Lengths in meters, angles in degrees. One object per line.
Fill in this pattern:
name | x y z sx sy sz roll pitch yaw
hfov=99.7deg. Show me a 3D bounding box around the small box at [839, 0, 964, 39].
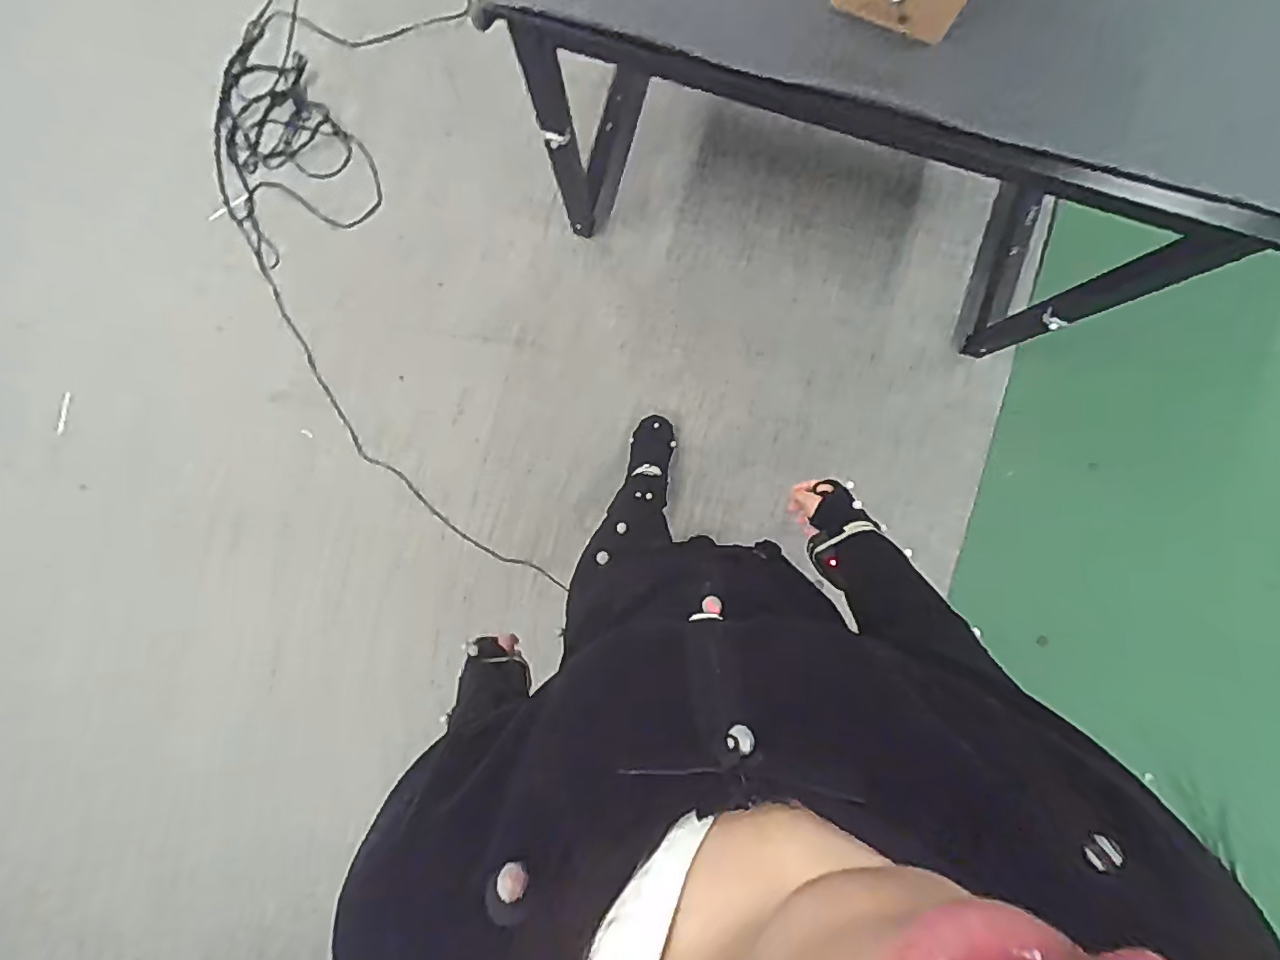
small box | 0.368 -0.718 0.672 0.168 0.176 0.179 22 89 2
